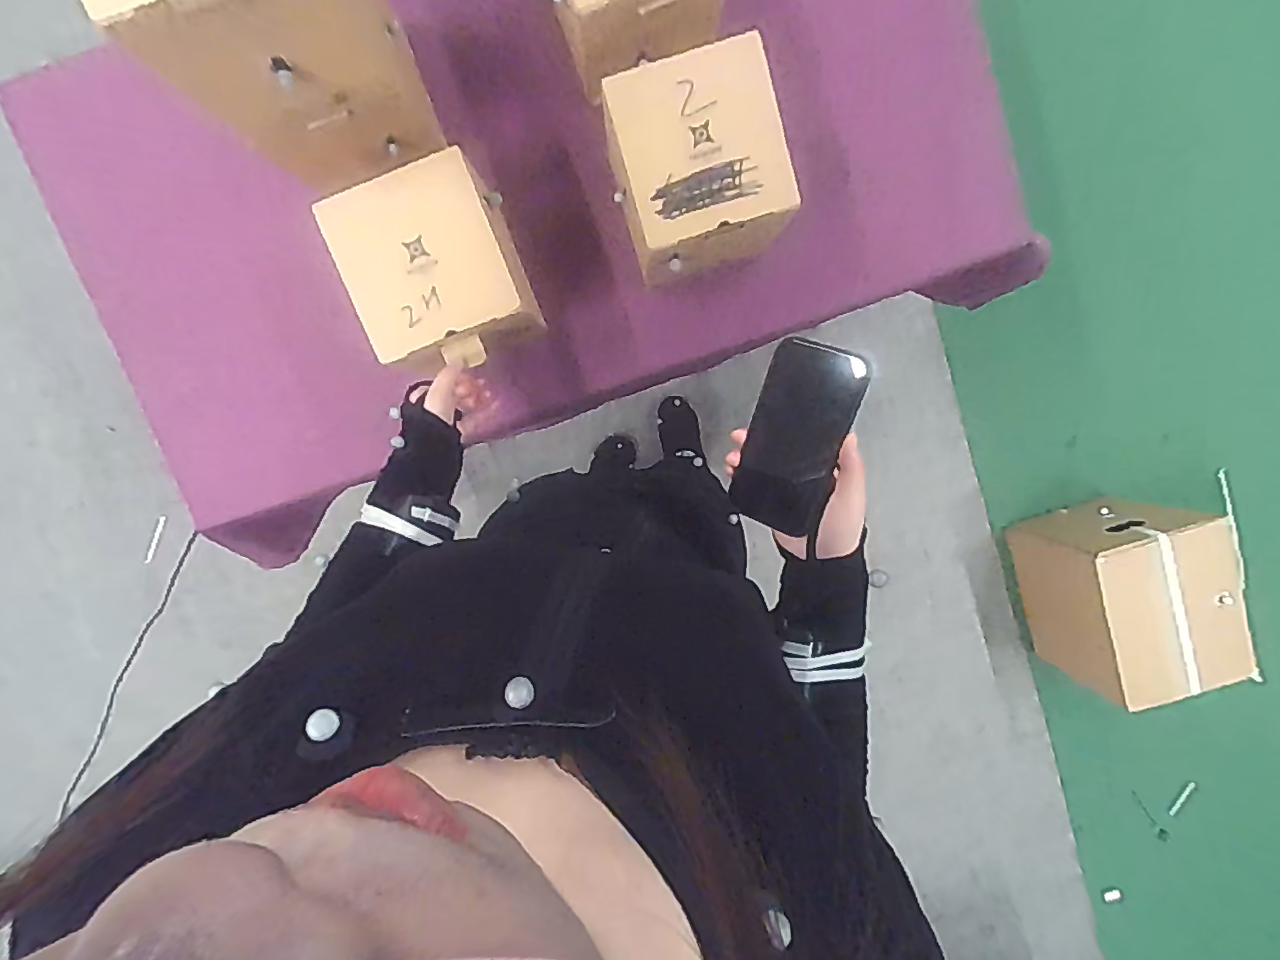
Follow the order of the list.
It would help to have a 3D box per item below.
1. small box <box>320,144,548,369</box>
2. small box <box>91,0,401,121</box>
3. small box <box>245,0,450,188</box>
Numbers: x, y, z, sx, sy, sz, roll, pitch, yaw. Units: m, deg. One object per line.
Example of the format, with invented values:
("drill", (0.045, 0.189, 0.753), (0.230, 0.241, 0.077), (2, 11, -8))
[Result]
("small box", (-0.225, -0.244, 0.639), (0.168, 0.176, 0.179), (-21, 97, 3))
("small box", (-0.329, -0.435, 0.445), (0.168, 0.176, 0.179), (-18, 99, 1))
("small box", (-0.338, -0.458, 0.608), (0.168, 0.176, 0.179), (-19, 98, 1))
